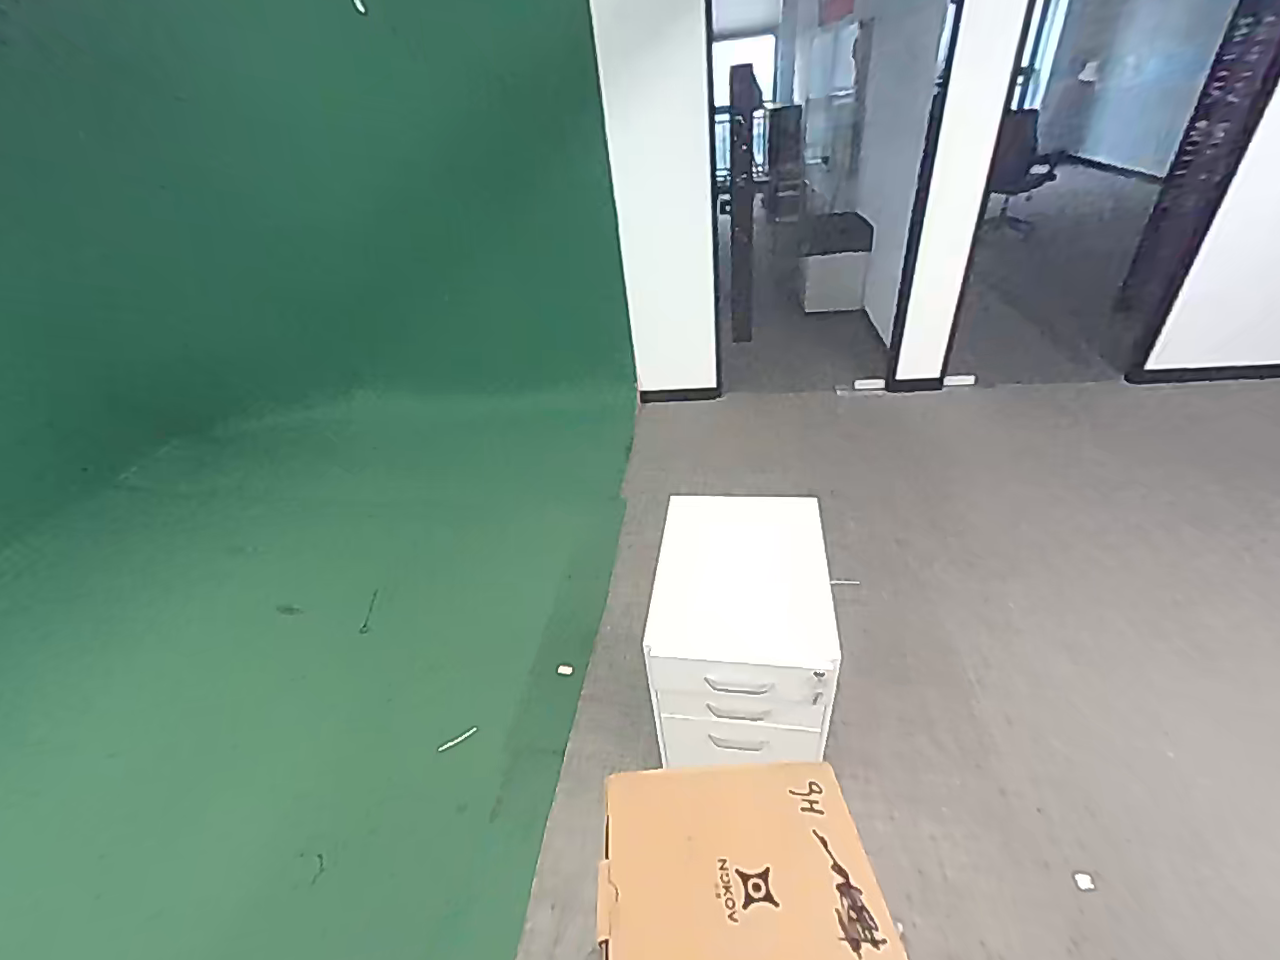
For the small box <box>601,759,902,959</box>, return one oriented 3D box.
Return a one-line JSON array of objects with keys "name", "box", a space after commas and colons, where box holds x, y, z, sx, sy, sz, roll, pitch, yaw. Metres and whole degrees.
[{"name": "small box", "box": [0.065, 0.330, 0.385, 0.179, 0.176, 0.168, -2, 28, -2]}]
